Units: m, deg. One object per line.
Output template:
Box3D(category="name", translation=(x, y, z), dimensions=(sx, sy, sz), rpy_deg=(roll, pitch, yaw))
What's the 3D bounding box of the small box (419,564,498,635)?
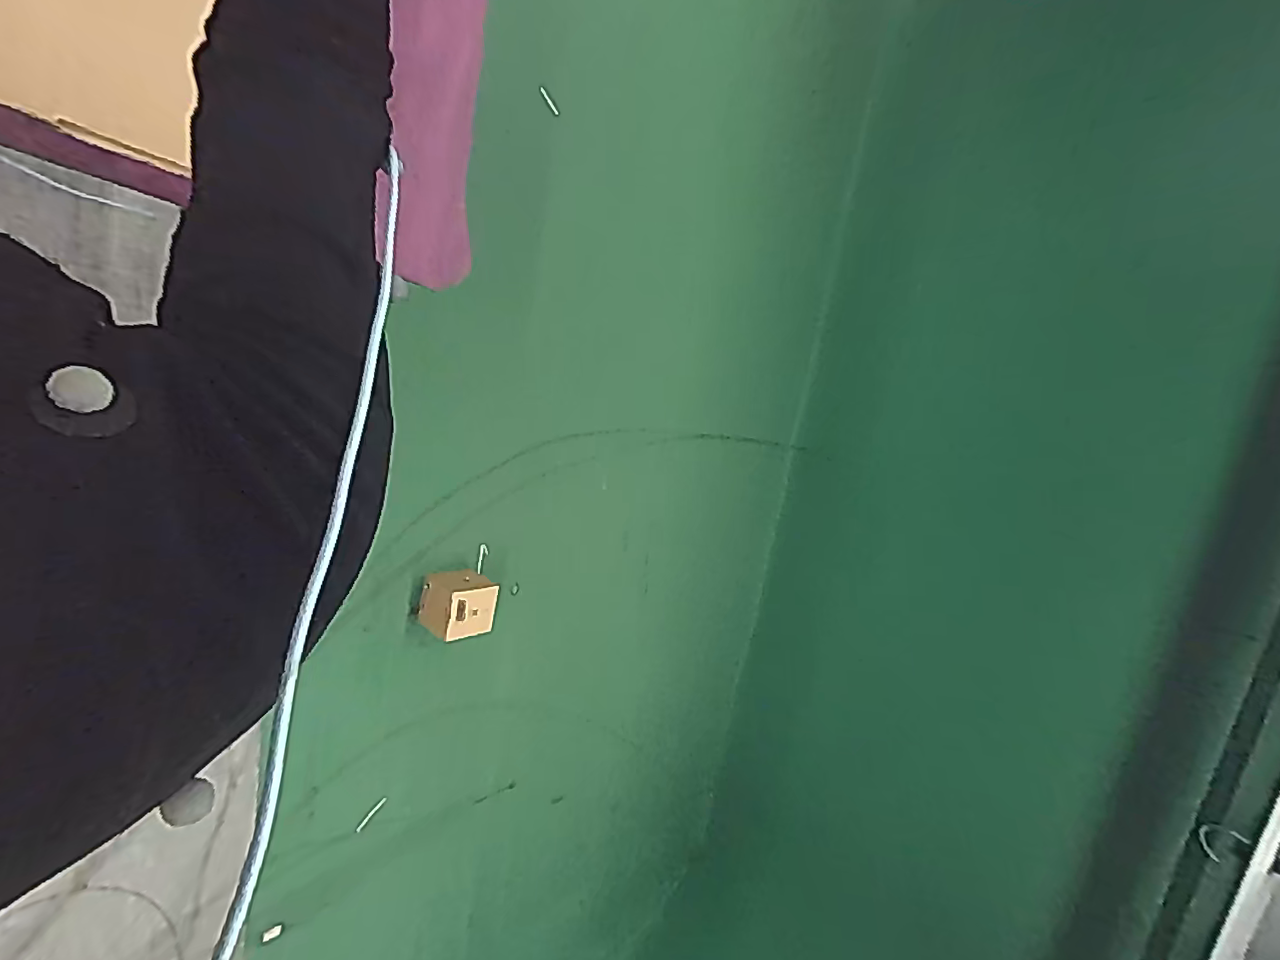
Box3D(category="small box", translation=(-0.602, 0.388, 1.786), dimensions=(0.179, 0.176, 0.168), rpy_deg=(2, 102, -53))
